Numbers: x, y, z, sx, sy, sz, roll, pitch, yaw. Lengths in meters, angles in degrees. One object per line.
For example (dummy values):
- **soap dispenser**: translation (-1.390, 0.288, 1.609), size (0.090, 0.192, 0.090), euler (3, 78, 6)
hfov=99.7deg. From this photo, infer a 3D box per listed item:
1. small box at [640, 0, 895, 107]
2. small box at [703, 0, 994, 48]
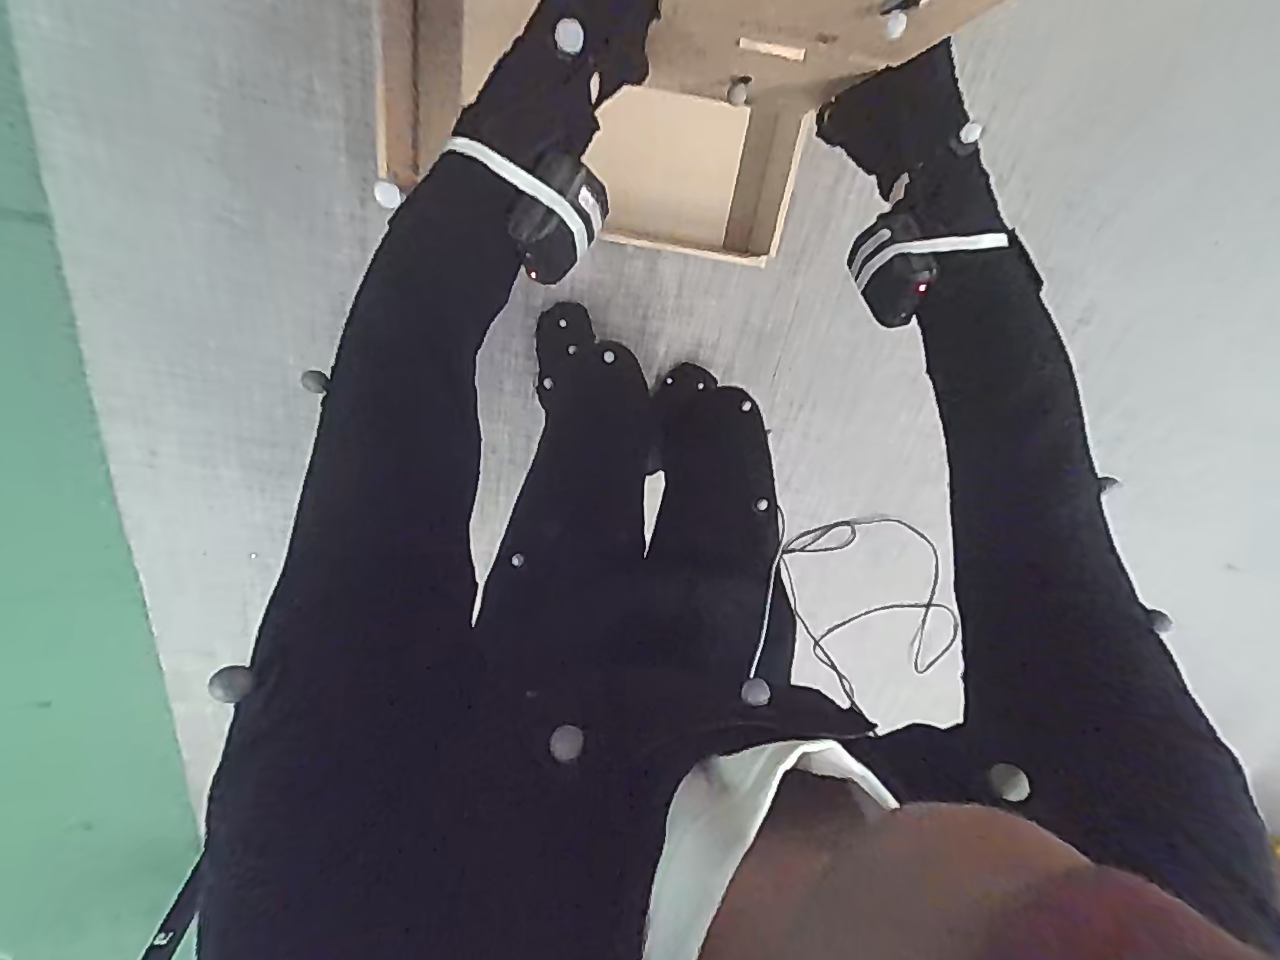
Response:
- **small box**: translation (0.089, -0.389, 0.385), size (0.168, 0.176, 0.179), euler (3, 113, -4)
- **small box**: translation (0.110, -0.314, 0.221), size (0.168, 0.176, 0.179), euler (5, 113, -7)
